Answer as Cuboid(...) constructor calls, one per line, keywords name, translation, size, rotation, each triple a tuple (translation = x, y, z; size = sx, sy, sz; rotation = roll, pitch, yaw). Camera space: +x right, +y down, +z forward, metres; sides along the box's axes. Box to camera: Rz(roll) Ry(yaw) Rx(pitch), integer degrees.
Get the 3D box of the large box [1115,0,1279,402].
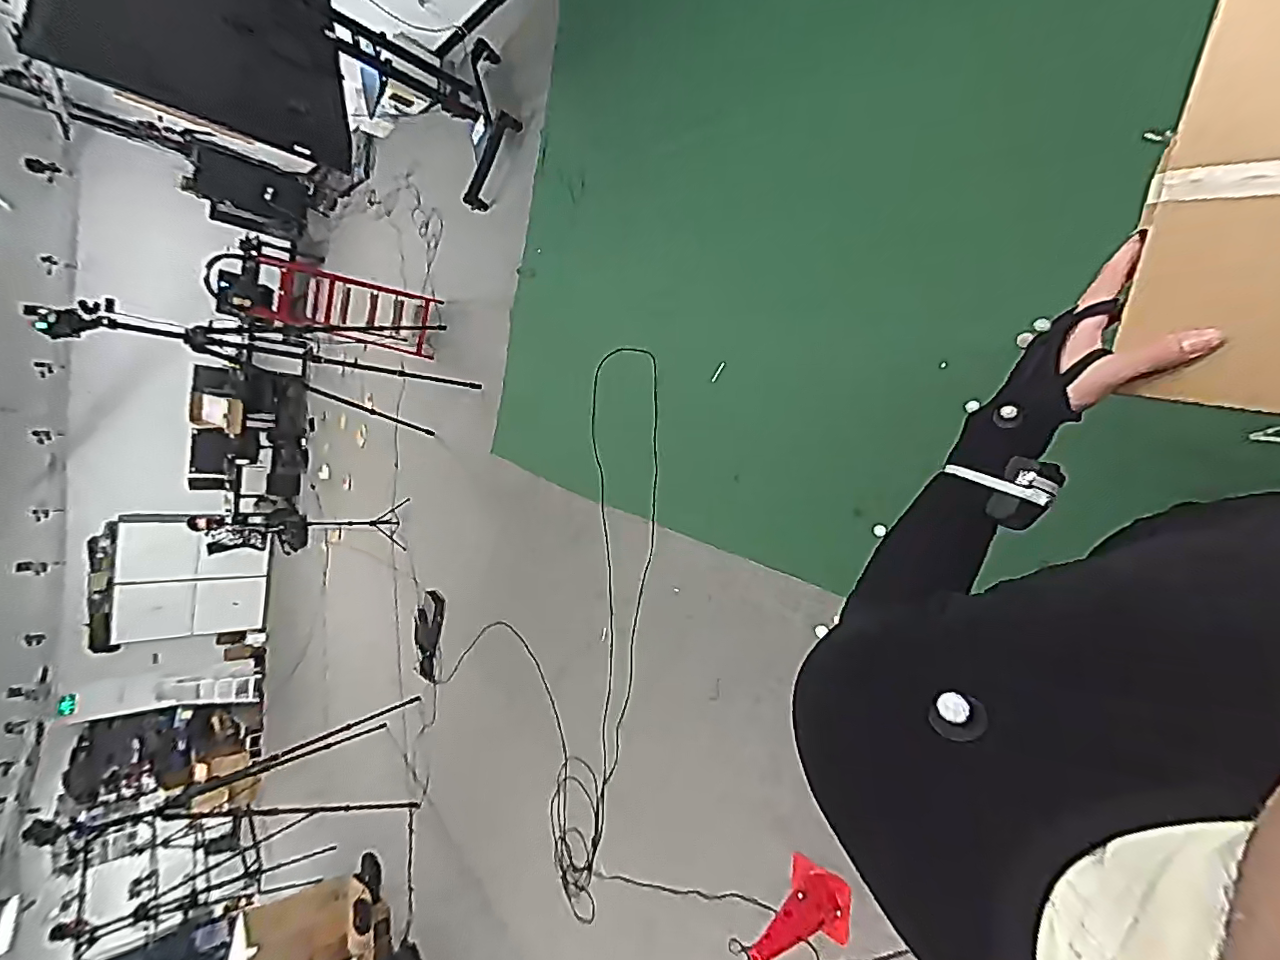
Cuboid(name="large box", translation=(0.645, -0.210, 0.373), size=(0.408, 0.320, 0.320), rotation=(21, 118, 43))
